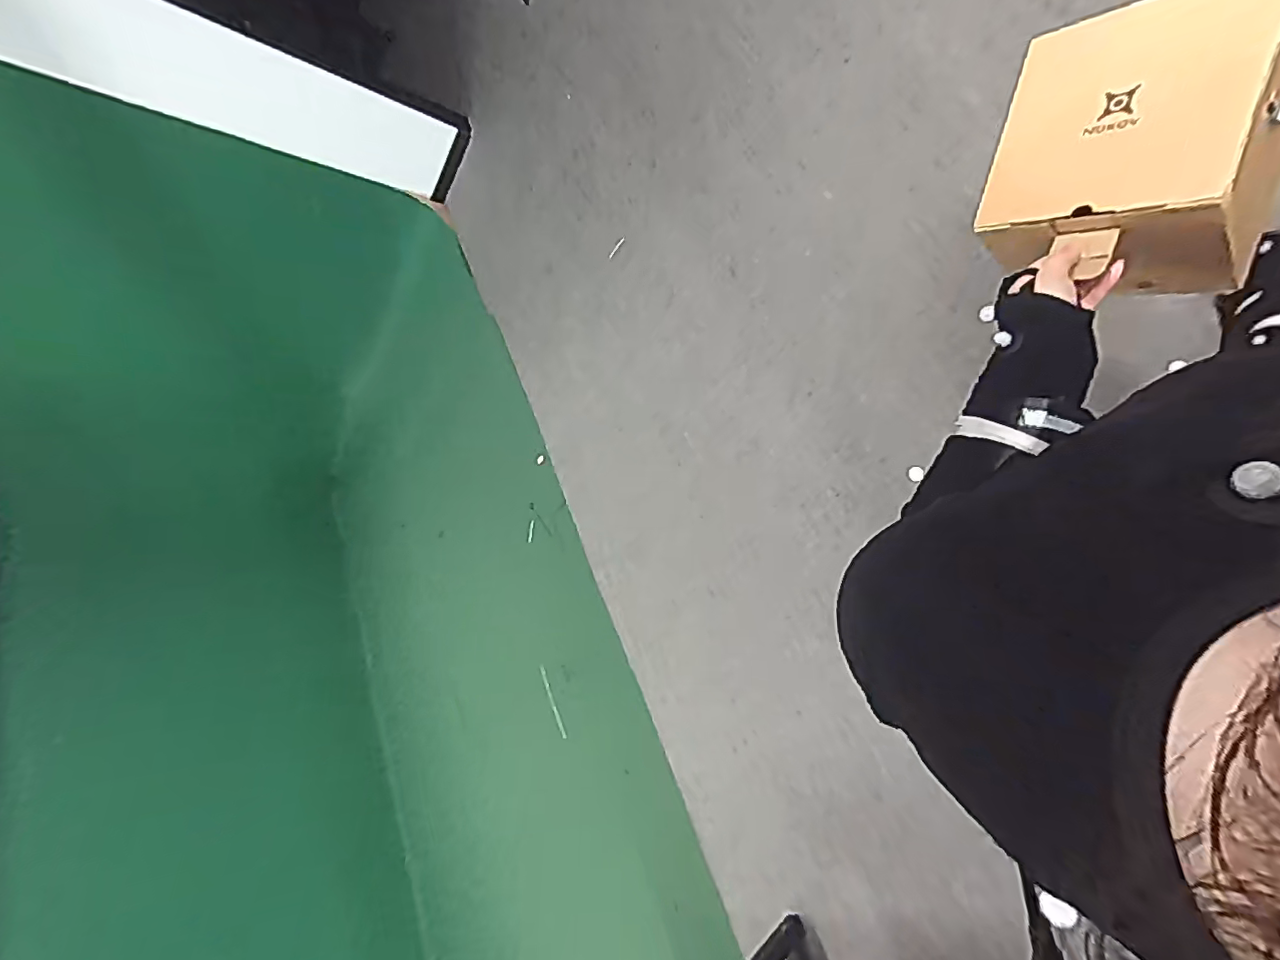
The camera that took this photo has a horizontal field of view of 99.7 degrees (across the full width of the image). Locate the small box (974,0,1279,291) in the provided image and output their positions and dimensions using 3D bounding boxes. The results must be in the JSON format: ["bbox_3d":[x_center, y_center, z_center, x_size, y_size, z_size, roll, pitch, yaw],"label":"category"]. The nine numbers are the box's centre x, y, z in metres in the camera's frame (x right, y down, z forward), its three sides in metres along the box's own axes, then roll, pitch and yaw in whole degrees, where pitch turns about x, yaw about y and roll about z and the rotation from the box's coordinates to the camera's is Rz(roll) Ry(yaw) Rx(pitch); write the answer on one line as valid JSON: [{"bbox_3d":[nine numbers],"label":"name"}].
[{"bbox_3d":[0.440,-0.288,0.486,0.168,0.176,0.179,21,97,49],"label":"small box"}]
